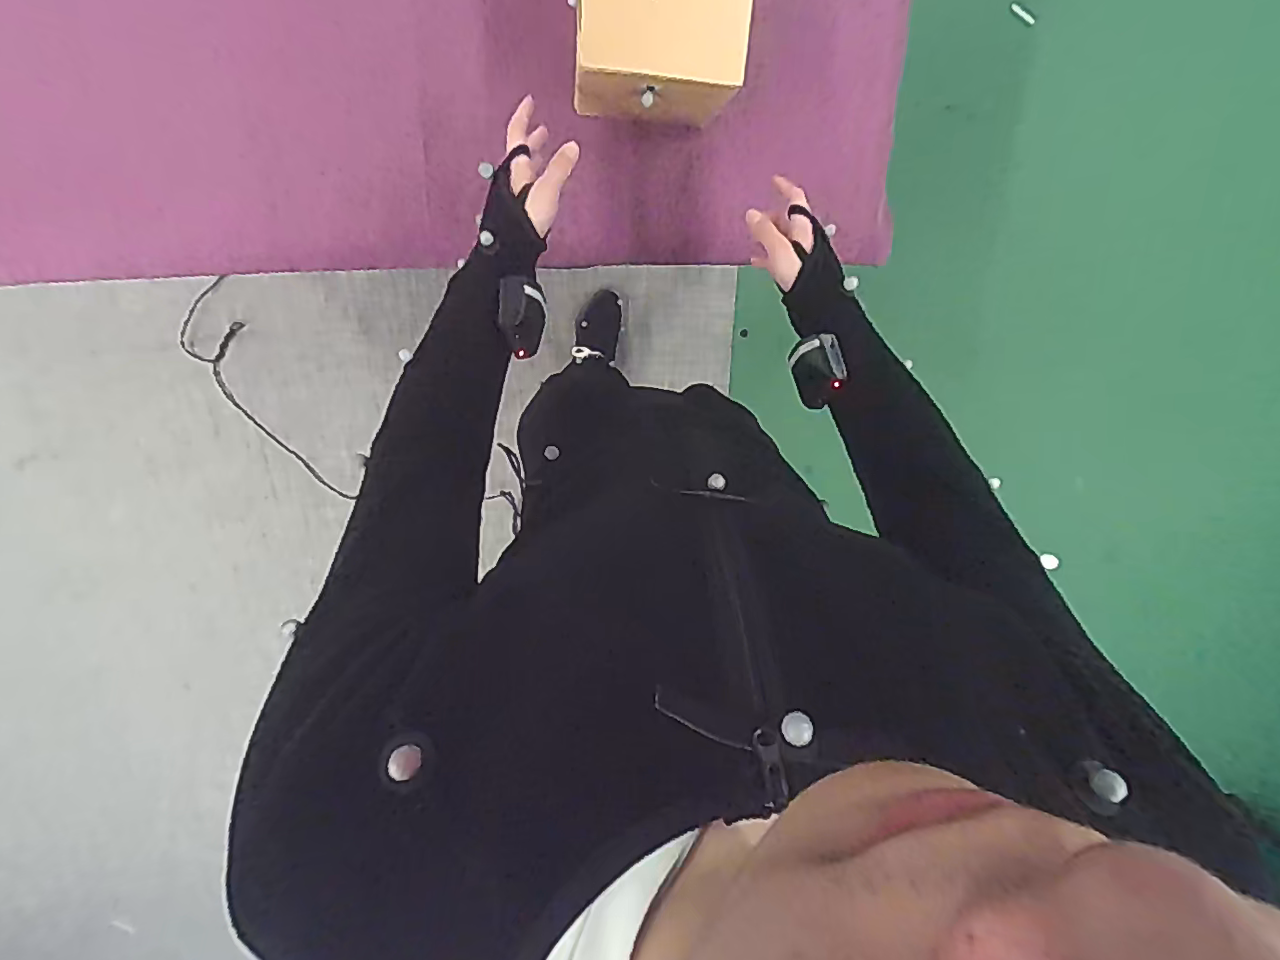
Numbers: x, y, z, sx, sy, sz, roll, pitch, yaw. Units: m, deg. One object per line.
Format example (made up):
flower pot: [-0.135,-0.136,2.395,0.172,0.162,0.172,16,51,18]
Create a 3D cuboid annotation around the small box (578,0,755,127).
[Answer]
small box: [0.022,-0.515,0.607,0.179,0.176,0.168,2,111,-7]
